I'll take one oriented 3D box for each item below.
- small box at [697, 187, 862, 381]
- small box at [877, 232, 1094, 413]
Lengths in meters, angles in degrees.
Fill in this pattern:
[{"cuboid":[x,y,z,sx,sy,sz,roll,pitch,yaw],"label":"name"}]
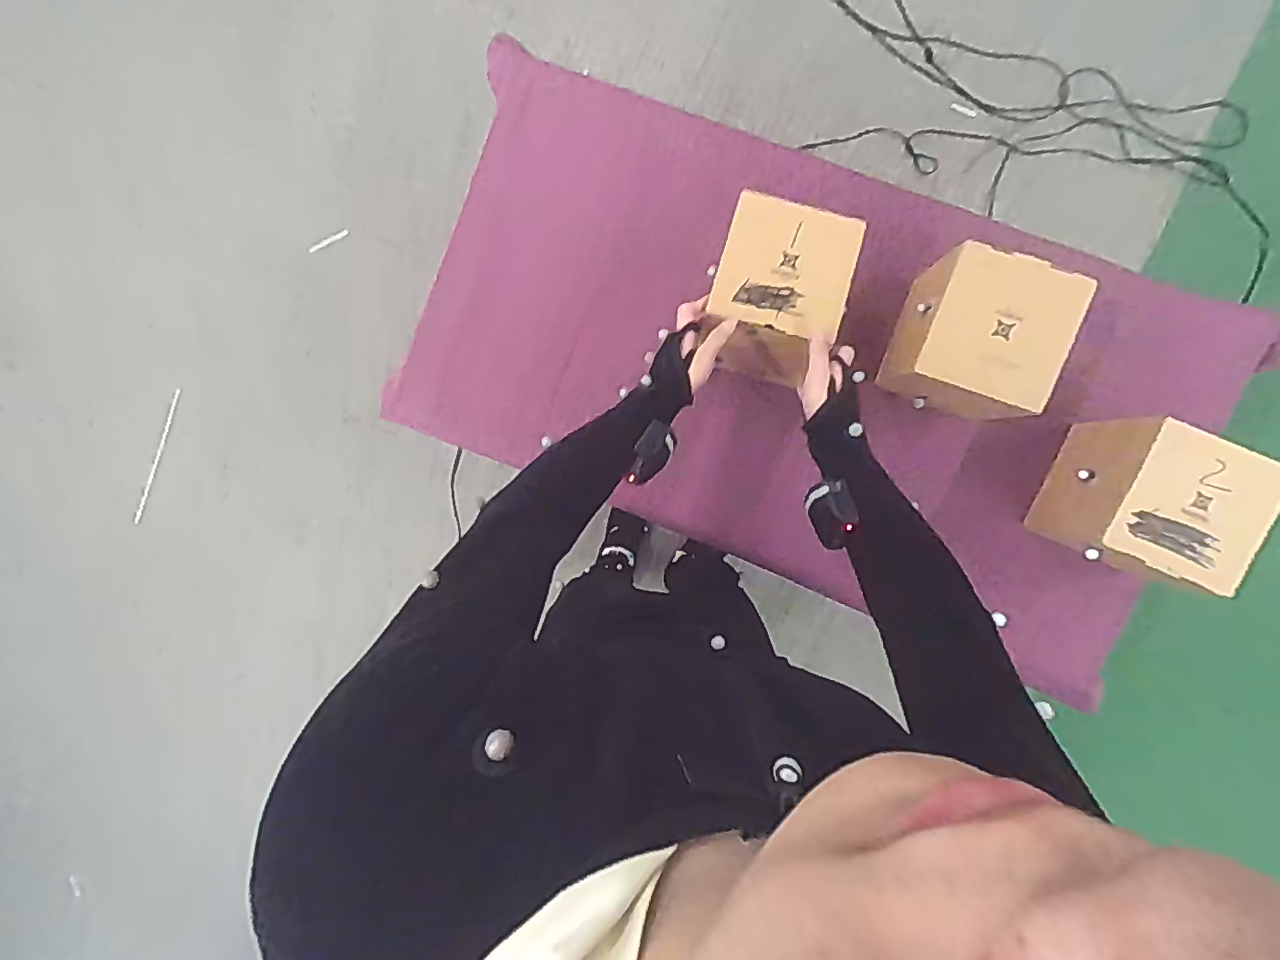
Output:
[{"cuboid":[0.180,-0.258,0.752,0.168,0.176,0.179,17,81,3],"label":"small box"},{"cuboid":[0.457,-0.203,0.750,0.168,0.176,0.179,21,96,4],"label":"small box"}]
